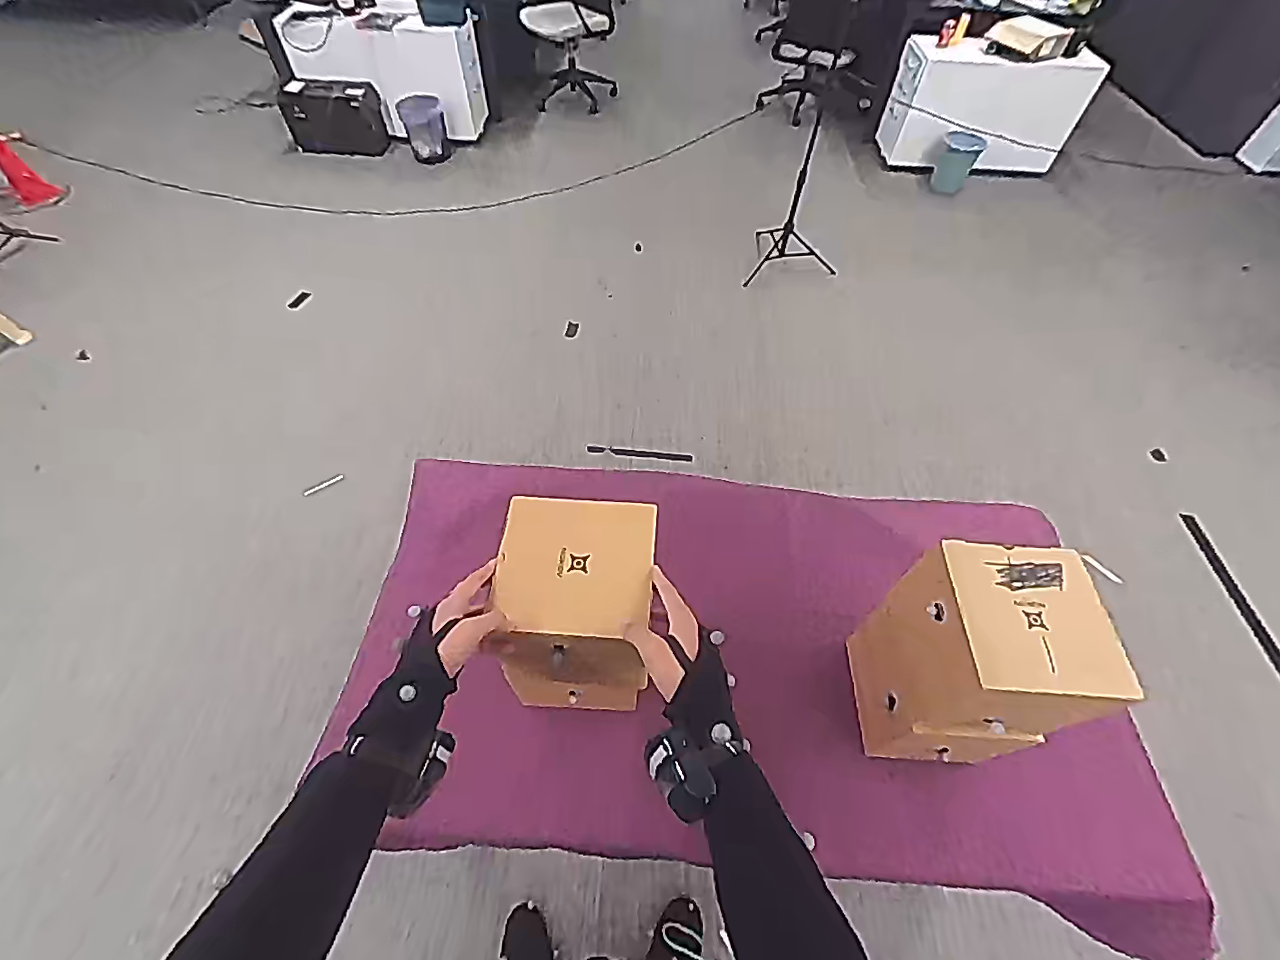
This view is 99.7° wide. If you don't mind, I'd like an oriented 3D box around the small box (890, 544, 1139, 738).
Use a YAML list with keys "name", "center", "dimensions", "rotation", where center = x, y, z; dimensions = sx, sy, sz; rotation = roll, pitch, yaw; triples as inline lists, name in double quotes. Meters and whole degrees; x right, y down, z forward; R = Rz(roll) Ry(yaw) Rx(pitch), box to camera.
- name: "small box"
  center: [0.430, 0.200, 0.663]
  dimensions: [0.168, 0.176, 0.179]
  rotation: [4, 55, 1]

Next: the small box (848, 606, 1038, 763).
- name: "small box"
  center: [0.423, 0.303, 0.791]
  dimensions: [0.168, 0.176, 0.179]
  rotation: [4, 54, 1]

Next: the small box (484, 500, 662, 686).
- name: "small box"
  center: [-0.067, 0.142, 0.659]
  dimensions: [0.179, 0.176, 0.168]
  rotation: [3, 54, 3]
